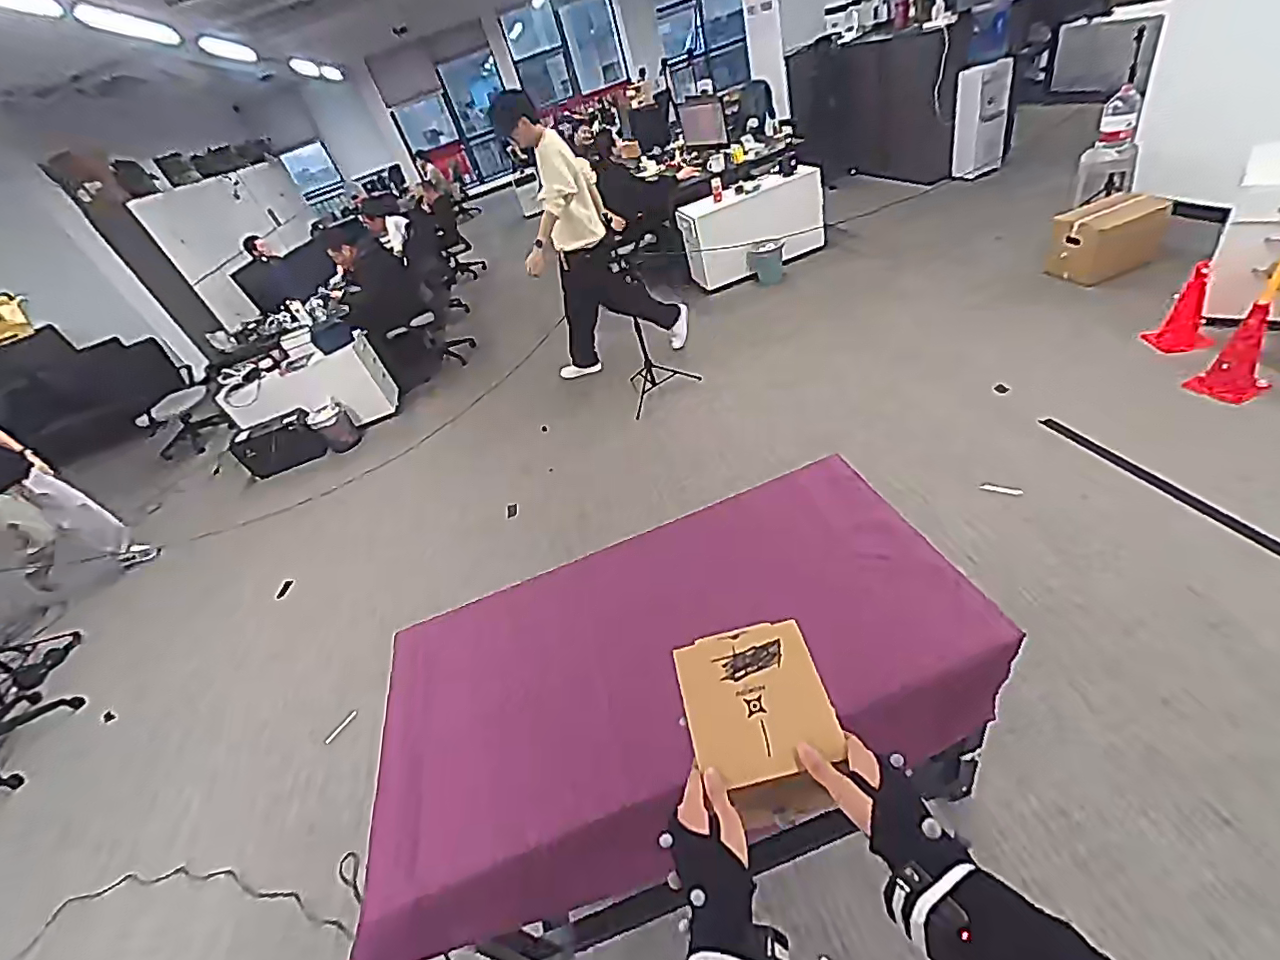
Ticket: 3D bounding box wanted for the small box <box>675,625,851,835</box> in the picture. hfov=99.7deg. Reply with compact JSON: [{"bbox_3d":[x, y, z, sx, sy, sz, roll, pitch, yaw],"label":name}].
[{"bbox_3d":[0.152,0.321,0.696,0.168,0.176,0.179,-16,42,2],"label":"small box"}]
